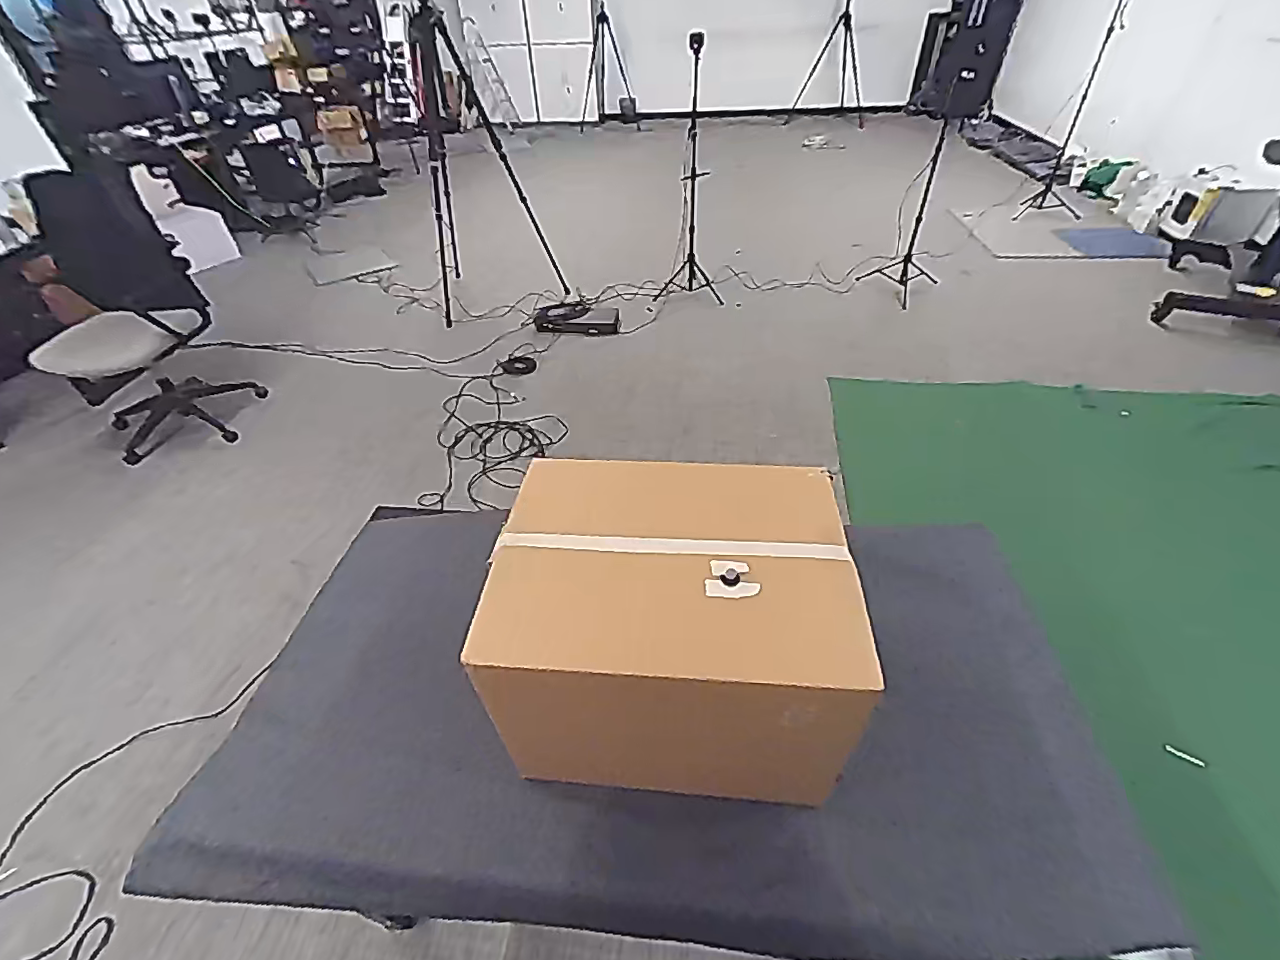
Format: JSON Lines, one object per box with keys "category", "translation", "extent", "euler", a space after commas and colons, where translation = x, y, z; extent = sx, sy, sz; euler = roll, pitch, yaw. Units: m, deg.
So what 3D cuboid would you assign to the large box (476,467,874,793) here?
{"category": "large box", "translation": [0.042, 0.198, 0.738], "extent": [0.408, 0.320, 0.320], "euler": [2, 43, 5]}
